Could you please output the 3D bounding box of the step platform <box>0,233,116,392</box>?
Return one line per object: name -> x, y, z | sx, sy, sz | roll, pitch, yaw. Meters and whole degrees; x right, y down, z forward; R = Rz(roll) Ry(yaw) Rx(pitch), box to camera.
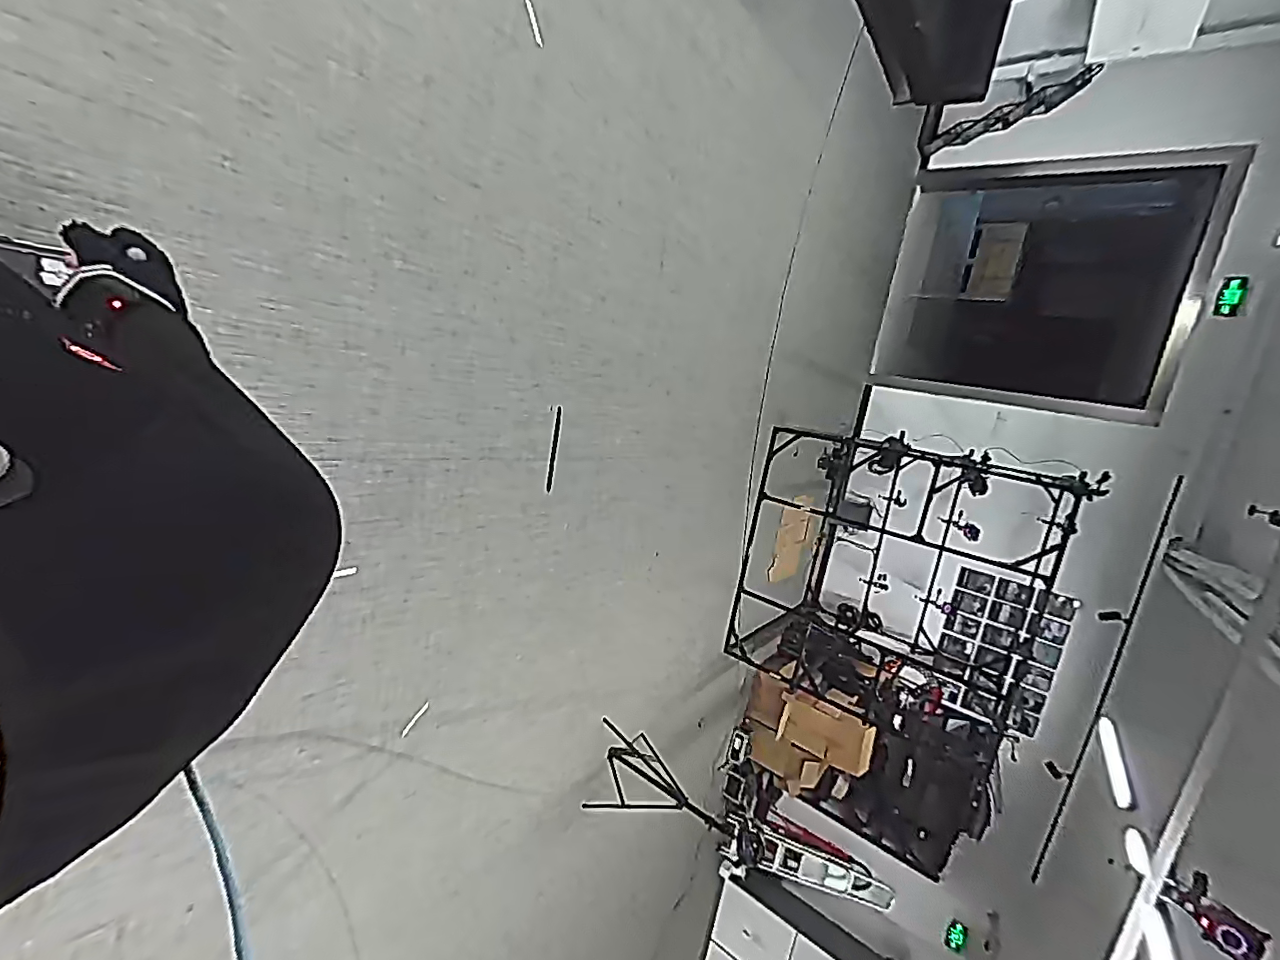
step platform -> -1.319, -0.312, 0.870 | 0.684, 0.204, 0.286 | -6, 110, -55
